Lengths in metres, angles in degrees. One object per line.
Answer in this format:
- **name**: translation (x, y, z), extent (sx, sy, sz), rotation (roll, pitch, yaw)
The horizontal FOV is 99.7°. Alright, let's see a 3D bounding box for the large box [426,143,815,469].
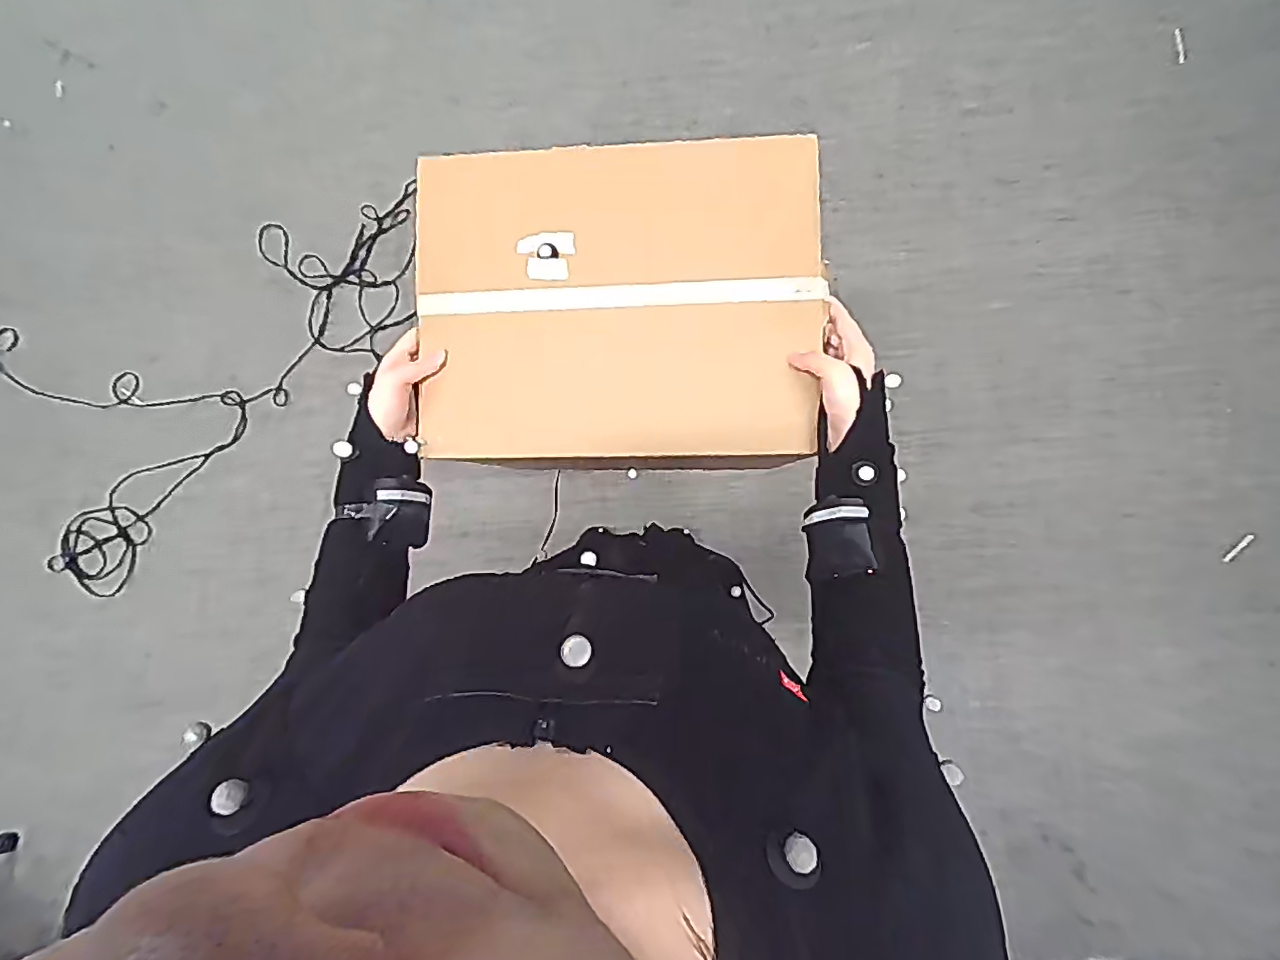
- **large box**: translation (-0.011, -0.175, 0.701), extent (0.408, 0.320, 0.320), rotation (-1, 88, 6)
